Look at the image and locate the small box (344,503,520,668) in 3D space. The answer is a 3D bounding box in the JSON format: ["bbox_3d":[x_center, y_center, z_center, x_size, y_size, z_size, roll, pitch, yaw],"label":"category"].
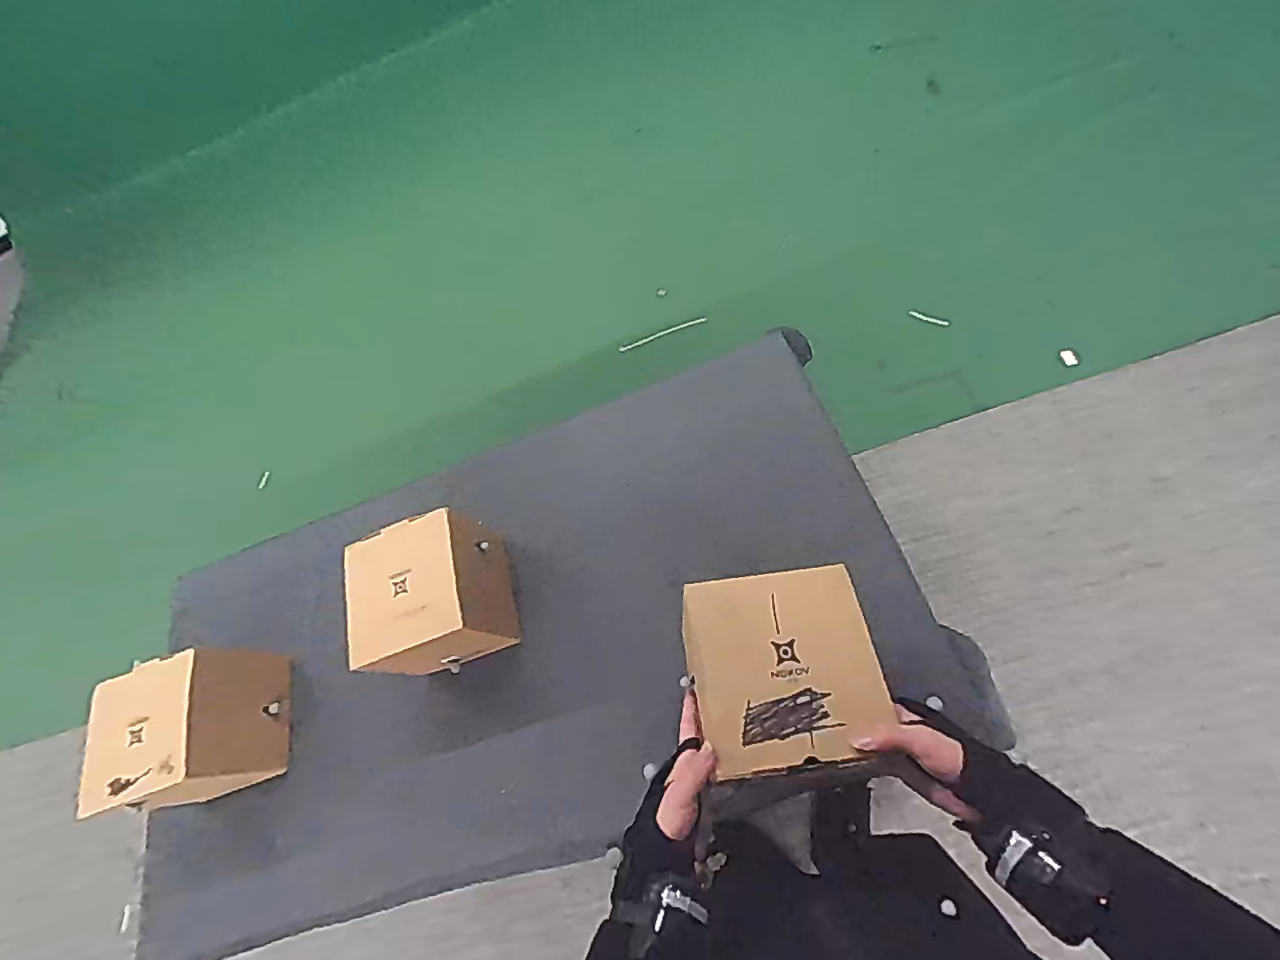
[{"bbox_3d":[-0.296,0.161,0.786,0.168,0.176,0.179,-22,66,7],"label":"small box"}]

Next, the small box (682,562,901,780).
[{"bbox_3d":[0.137,0.206,0.565,0.168,0.176,0.179,-7,57,-1],"label":"small box"}]

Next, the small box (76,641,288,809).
[{"bbox_3d":[-0.654,0.357,0.798,0.168,0.176,0.179,-21,64,6],"label":"small box"}]
